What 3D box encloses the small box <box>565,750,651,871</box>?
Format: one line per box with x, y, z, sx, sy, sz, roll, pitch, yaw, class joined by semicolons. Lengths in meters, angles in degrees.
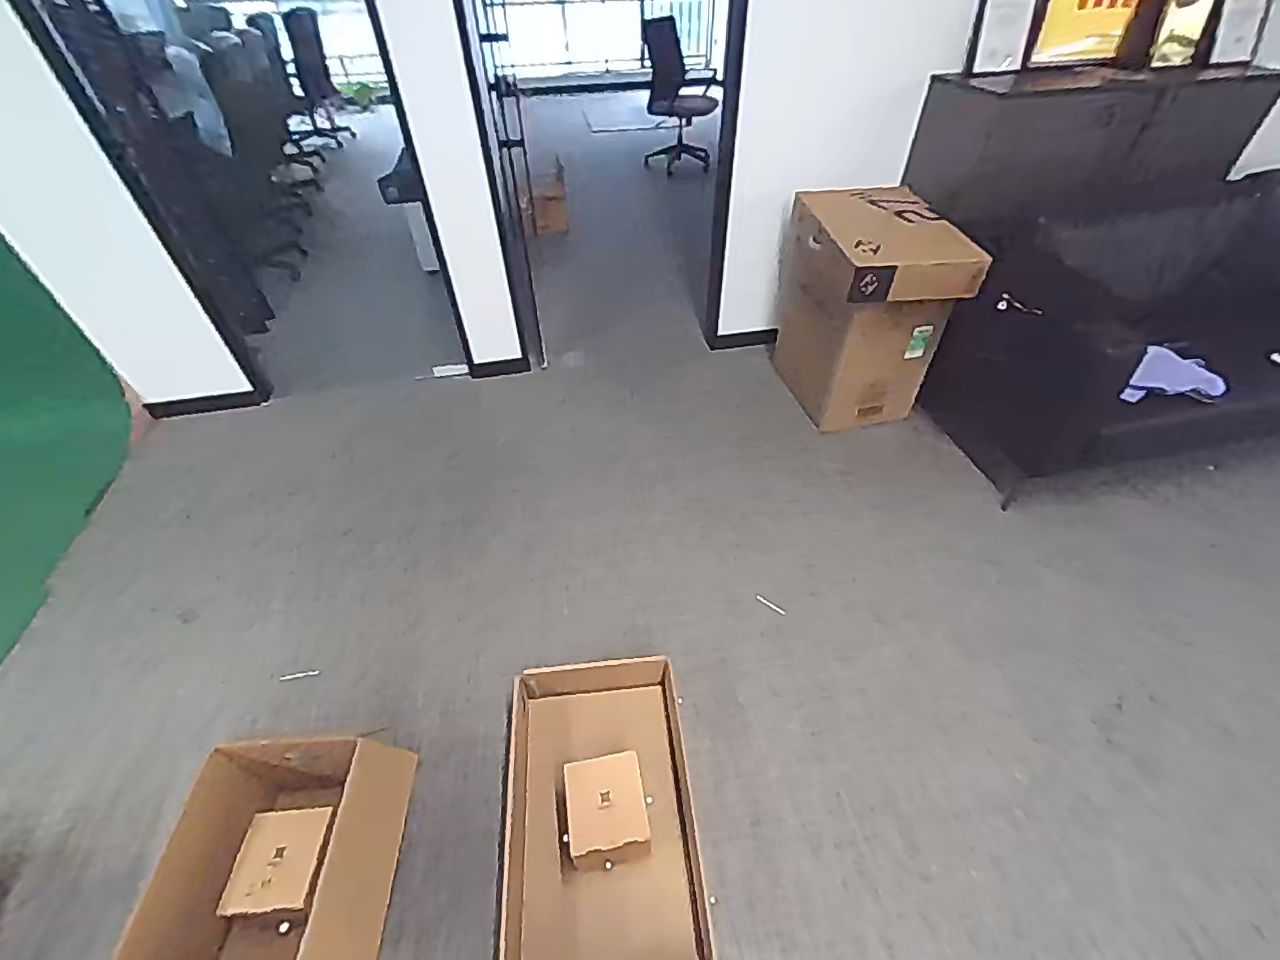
-0.073;0.730;1.195;0.168;0.176;0.179;-8;45;-8;small box
